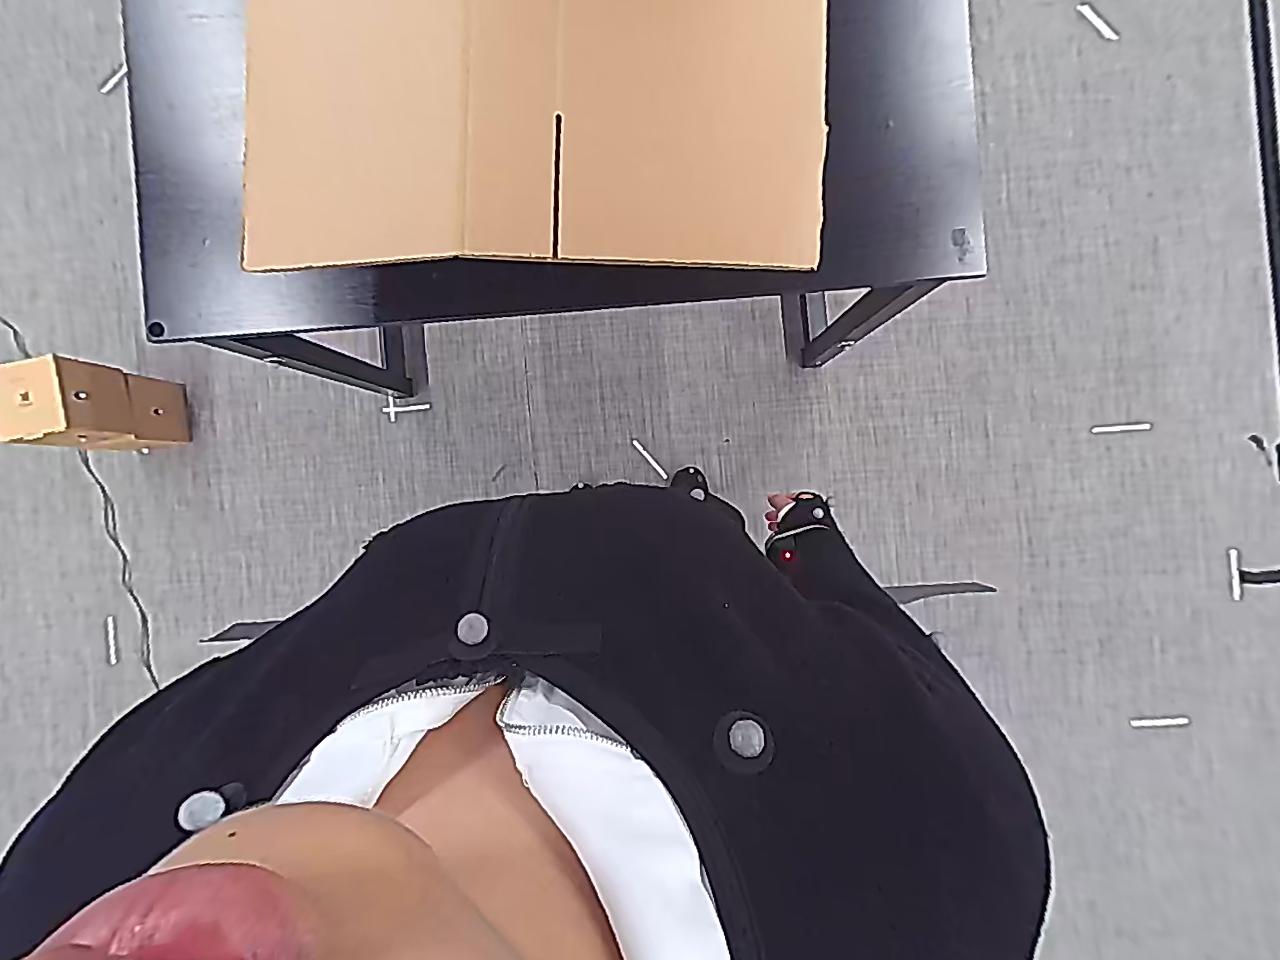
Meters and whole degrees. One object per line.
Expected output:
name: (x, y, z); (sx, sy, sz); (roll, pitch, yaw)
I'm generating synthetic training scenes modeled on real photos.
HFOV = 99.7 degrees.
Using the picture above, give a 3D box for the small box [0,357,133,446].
small box: (-1.376, -0.180, 1.296); (0.168, 0.176, 0.179); (-11, 89, 1)

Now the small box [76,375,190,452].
small box: (-1.370, -0.174, 1.459); (0.168, 0.176, 0.179); (-8, 91, 2)
